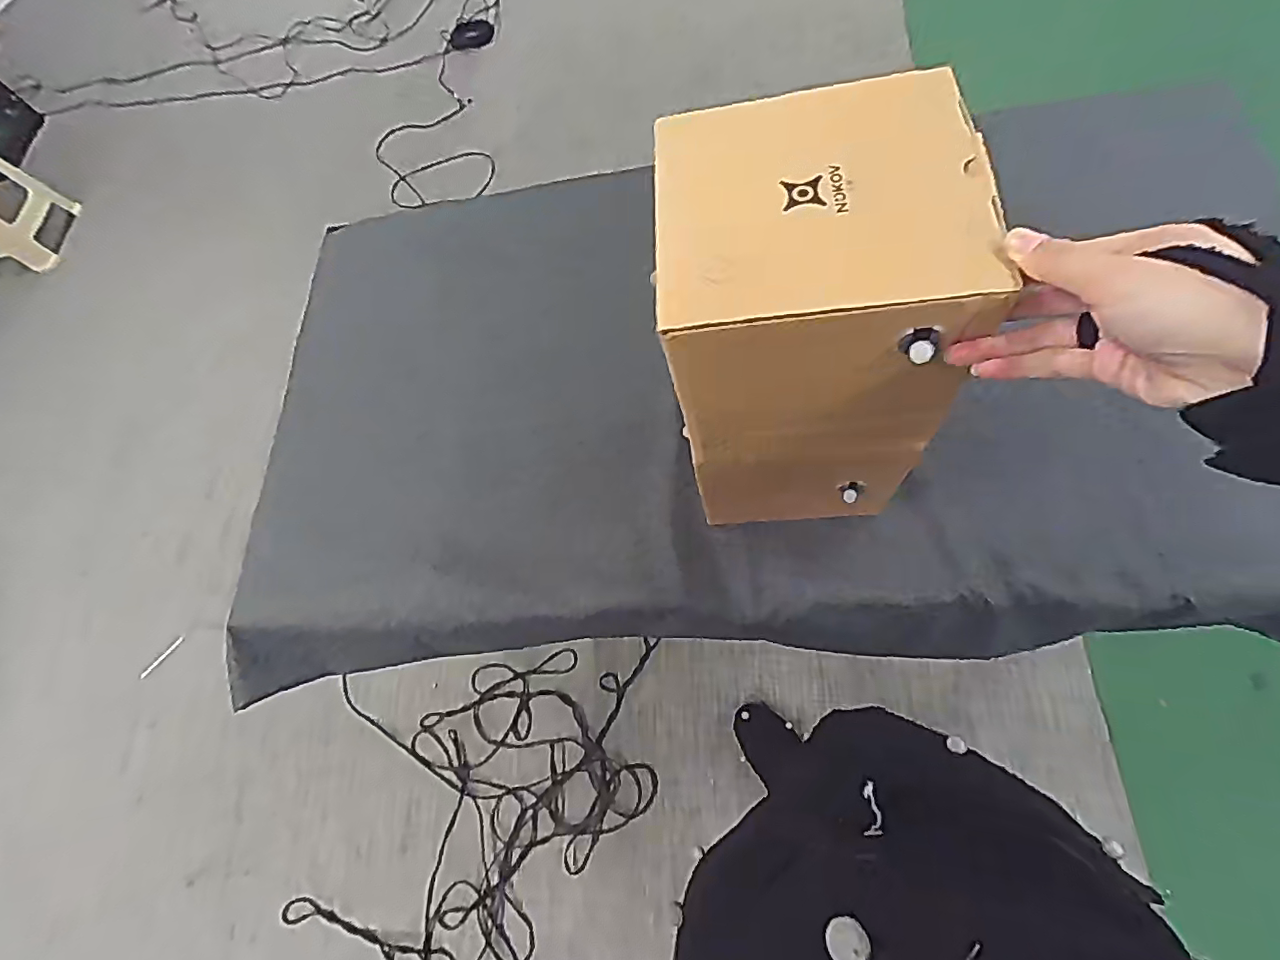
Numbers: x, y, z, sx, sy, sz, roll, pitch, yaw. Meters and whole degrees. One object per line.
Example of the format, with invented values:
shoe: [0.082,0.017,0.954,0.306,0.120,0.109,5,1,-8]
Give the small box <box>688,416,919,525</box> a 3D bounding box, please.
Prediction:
small box: [0.139,-0.062,0.520,0.179,0.176,0.168,-6,66,10]

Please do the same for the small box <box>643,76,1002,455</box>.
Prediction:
small box: [0.104,-0.126,0.373,0.179,0.176,0.168,-4,67,10]
